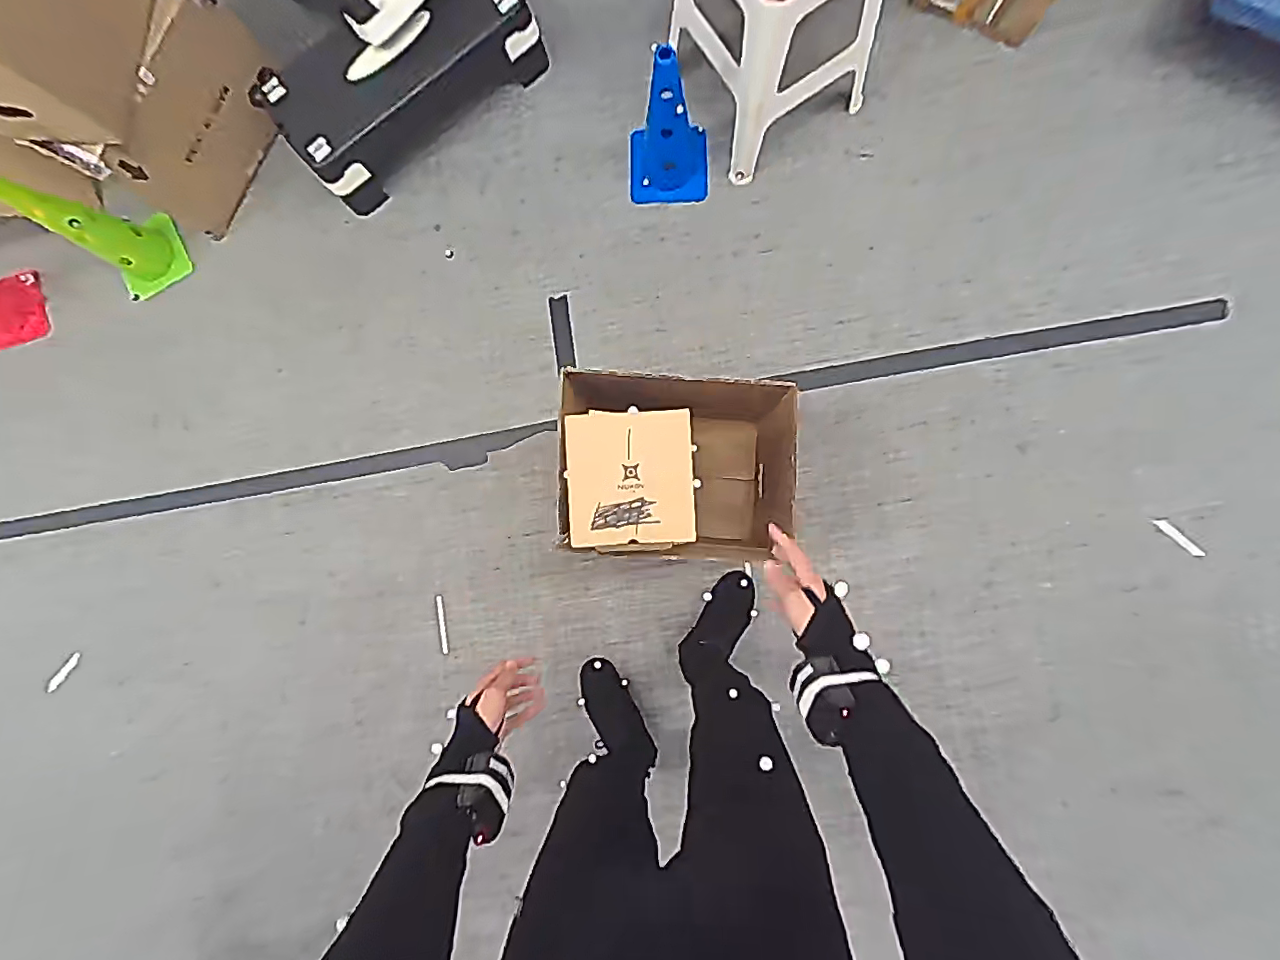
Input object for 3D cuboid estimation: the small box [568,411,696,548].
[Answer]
[{"bbox_3d":[-0.008,-0.003,0.780,0.168,0.176,0.179,-2,91,0],"label":"small box"}]
